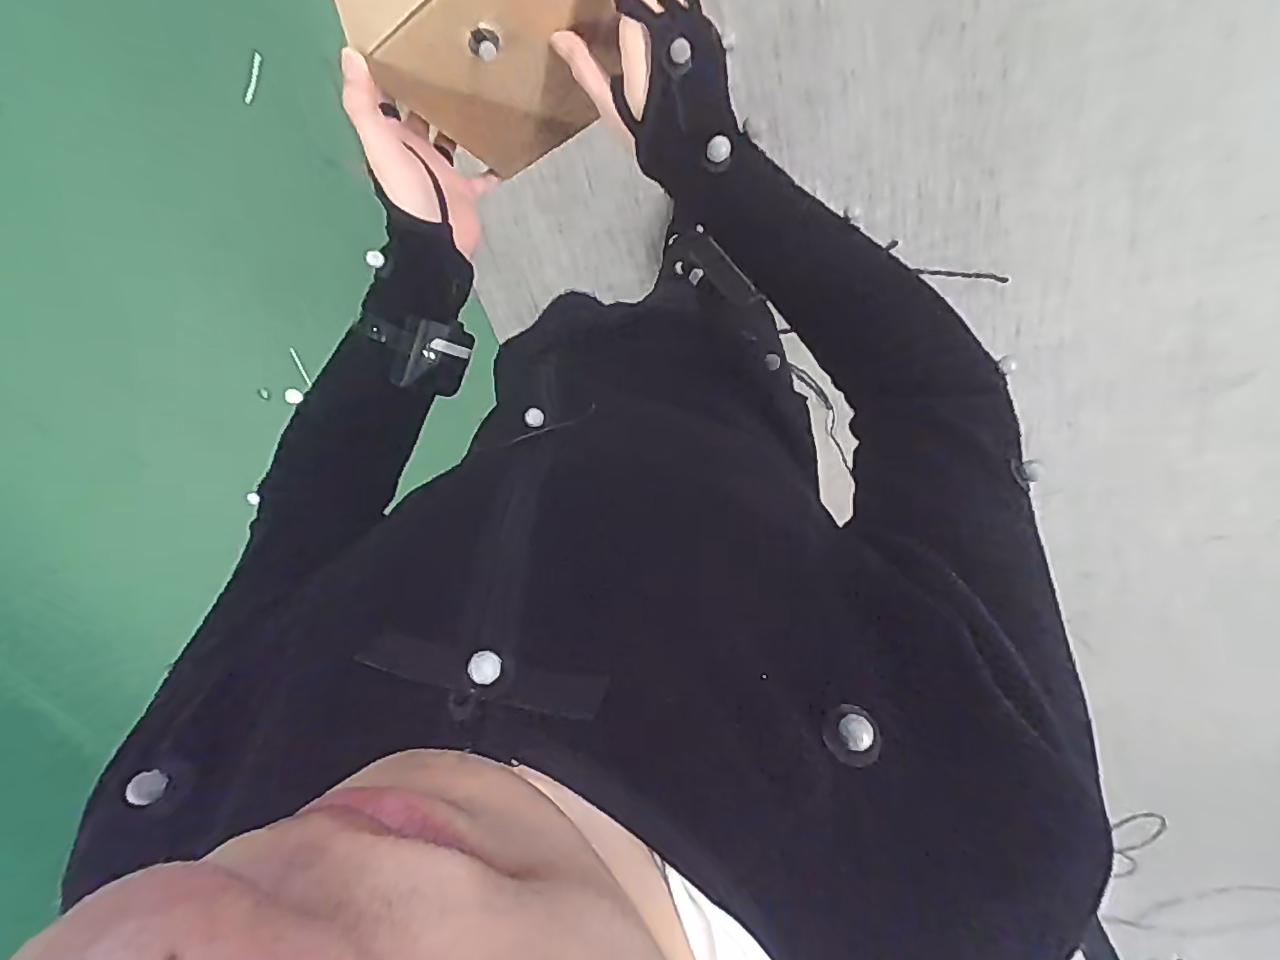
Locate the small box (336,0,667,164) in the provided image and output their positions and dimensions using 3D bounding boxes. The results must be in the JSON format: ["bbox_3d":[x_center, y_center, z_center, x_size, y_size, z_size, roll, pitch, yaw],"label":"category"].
[{"bbox_3d":[-0.104,-0.379,0.397,0.179,0.176,0.168,-19,86,22],"label":"small box"}]
